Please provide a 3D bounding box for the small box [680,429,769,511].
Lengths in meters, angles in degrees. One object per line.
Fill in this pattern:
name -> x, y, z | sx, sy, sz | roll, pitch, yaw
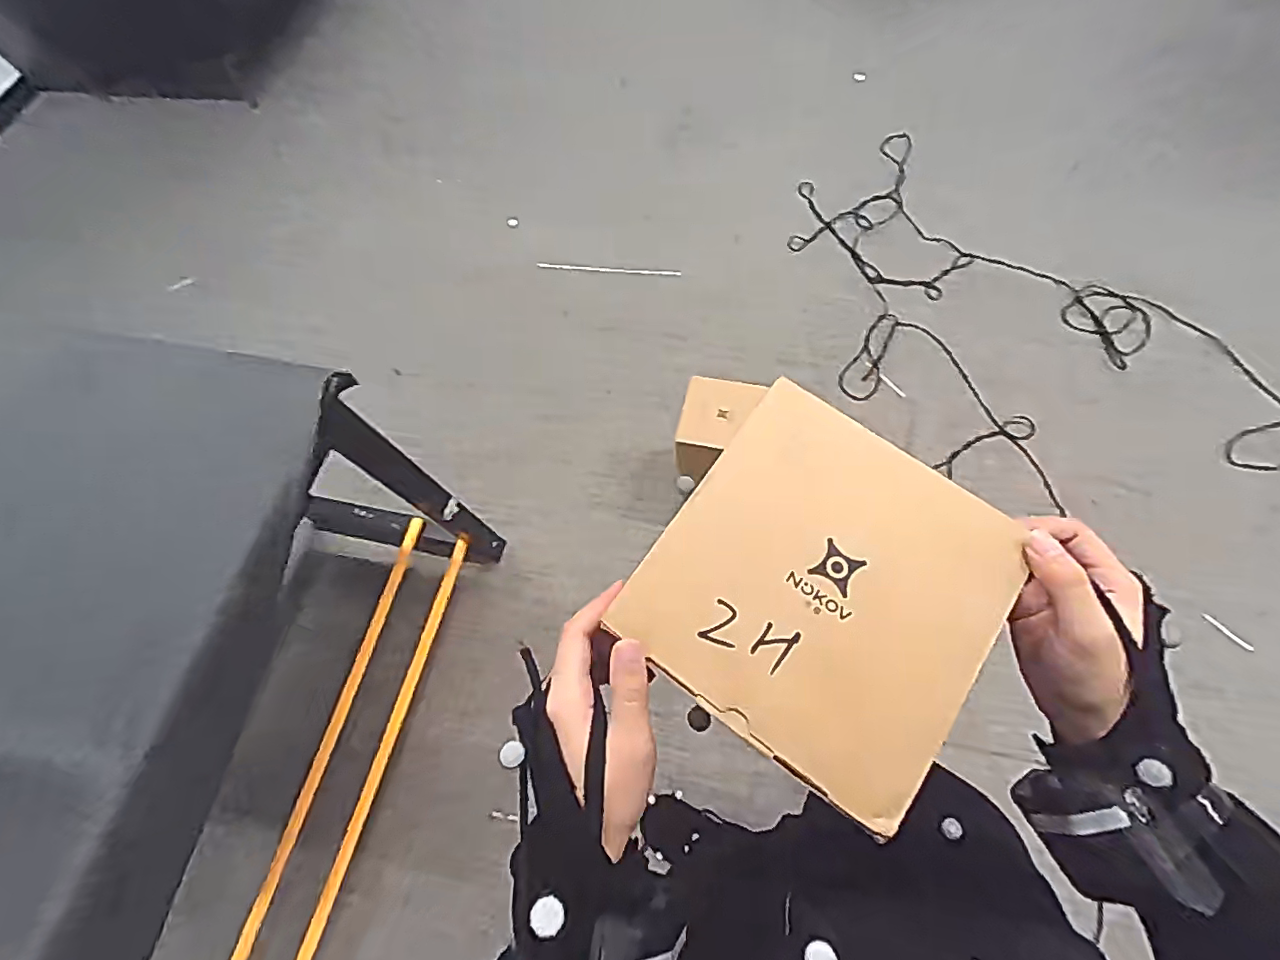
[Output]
small box -> 0.205, -0.036, 1.330 | 0.179, 0.176, 0.168 | 13, 68, 11

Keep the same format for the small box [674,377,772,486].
small box -> 0.182, -0.099, 1.181 | 0.179, 0.176, 0.168 | 10, 67, 13
